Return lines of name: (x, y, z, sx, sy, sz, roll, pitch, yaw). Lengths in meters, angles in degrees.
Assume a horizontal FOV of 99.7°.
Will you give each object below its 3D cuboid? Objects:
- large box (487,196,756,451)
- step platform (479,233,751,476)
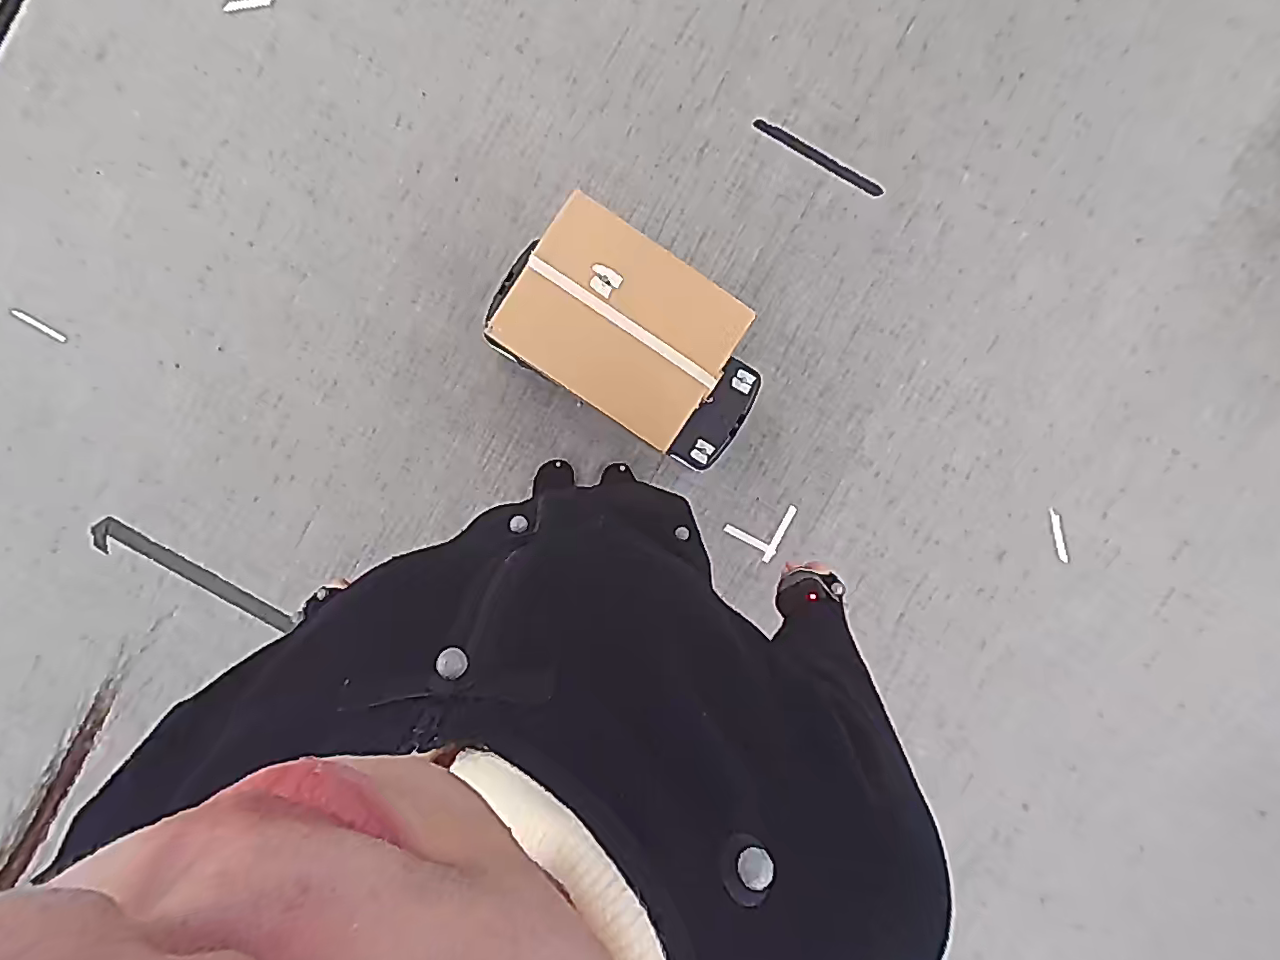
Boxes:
large box: (-0.031, -0.290, 1.132, 0.408, 0.320, 0.320, 33, 92, -1)
step platform: (-0.058, -0.305, 1.370, 0.684, 0.204, 0.286, 36, 92, -2)
